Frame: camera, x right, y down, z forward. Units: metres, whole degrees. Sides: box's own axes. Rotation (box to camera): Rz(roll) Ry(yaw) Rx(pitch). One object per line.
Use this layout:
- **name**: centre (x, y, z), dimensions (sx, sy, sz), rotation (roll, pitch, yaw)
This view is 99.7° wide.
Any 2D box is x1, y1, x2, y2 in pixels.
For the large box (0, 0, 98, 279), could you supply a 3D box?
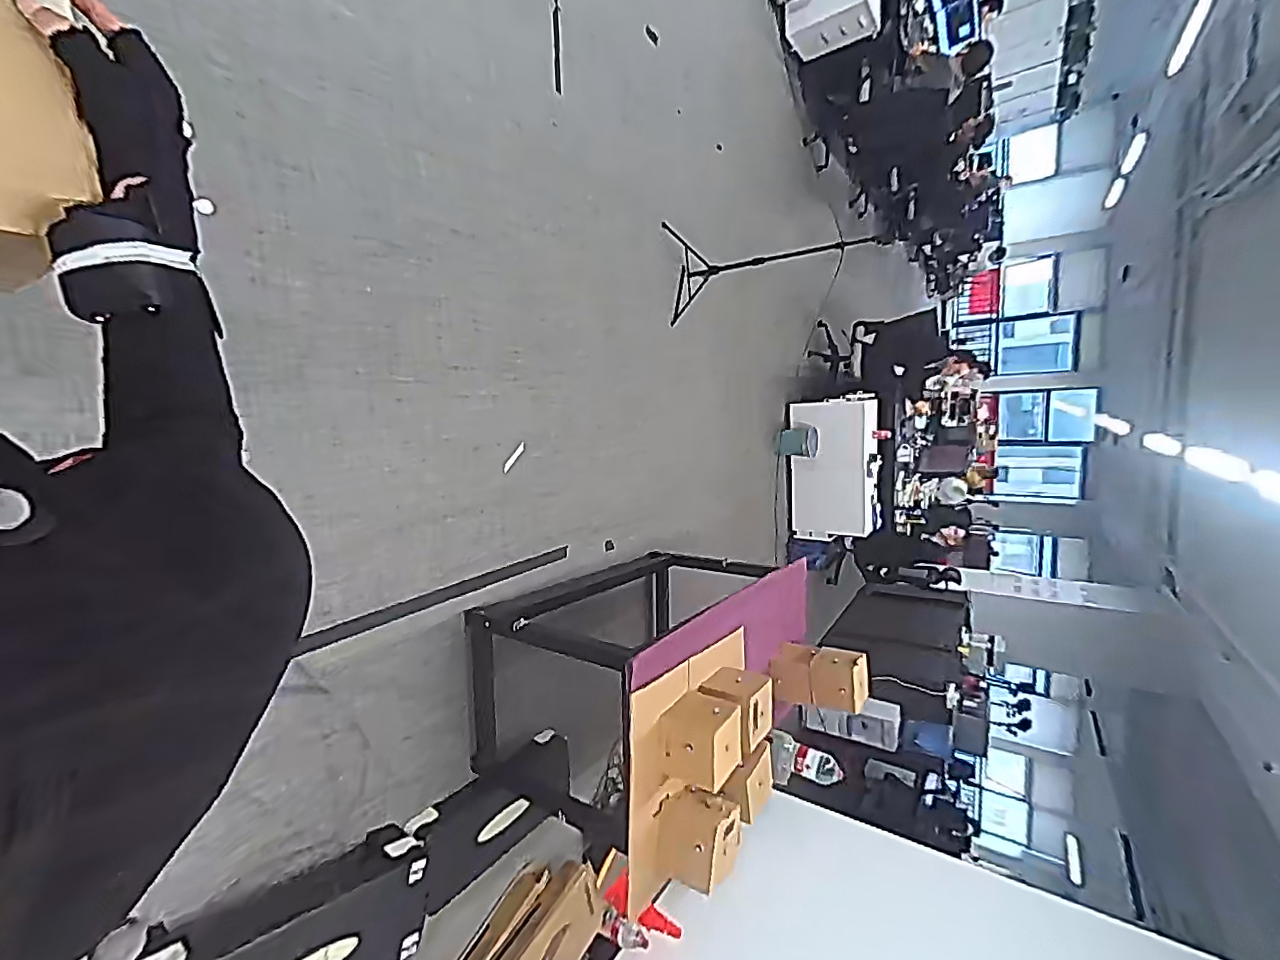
- **large box**: centre (-0.644, -0.313, 0.295), dimensions (0.408, 0.320, 0.320), rotation (-16, 109, -57)
